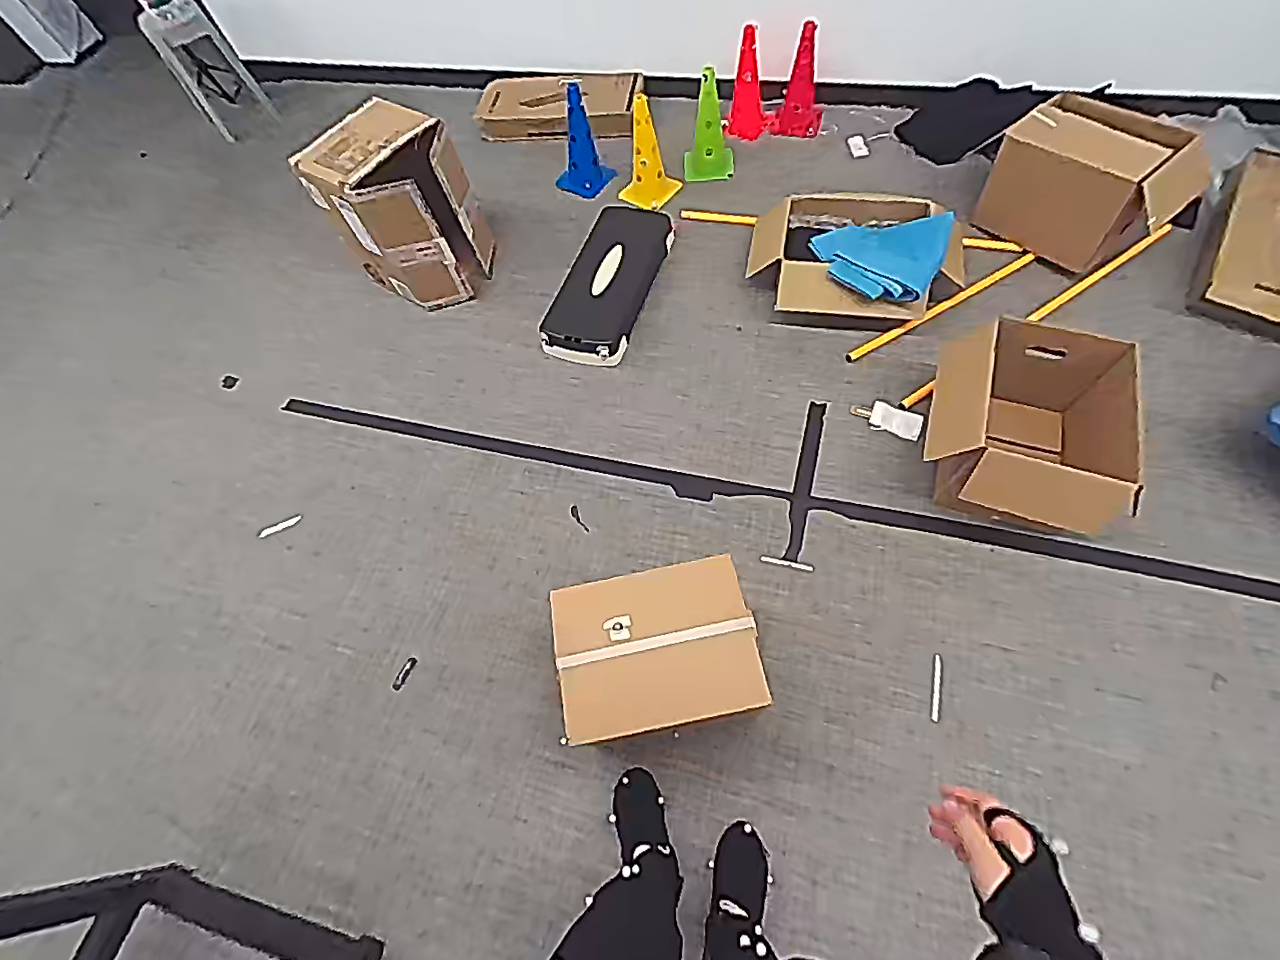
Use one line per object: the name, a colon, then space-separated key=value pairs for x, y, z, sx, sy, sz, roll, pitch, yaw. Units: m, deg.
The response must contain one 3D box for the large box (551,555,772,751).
large box: x=0.048 y=0.403 z=1.225 sx=0.408 sy=0.320 sz=0.320 roll=-13 pitch=61 yaw=1
